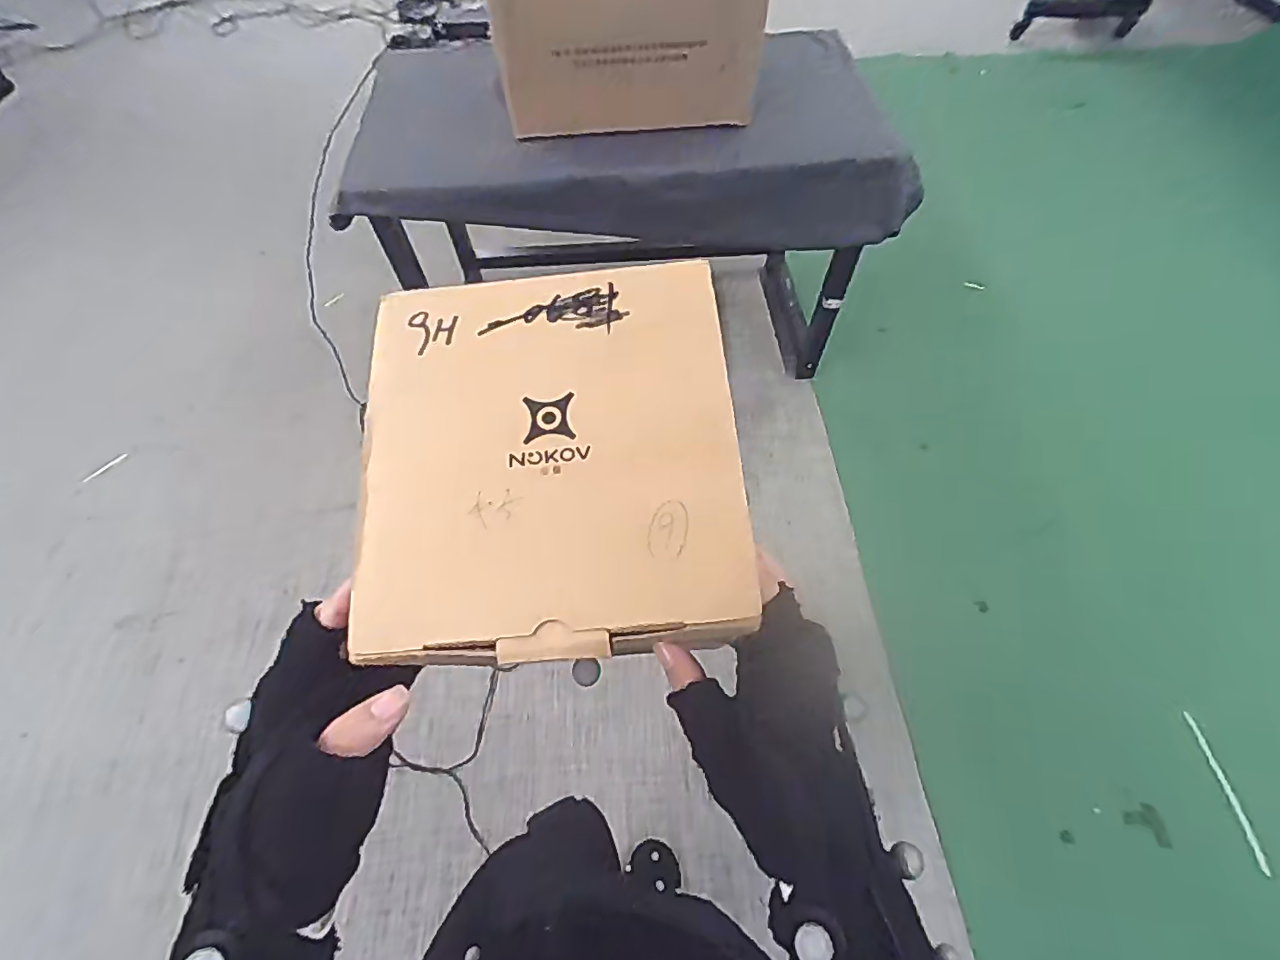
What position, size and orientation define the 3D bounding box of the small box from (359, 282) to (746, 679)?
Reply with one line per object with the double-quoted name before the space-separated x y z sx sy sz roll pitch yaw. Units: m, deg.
"small box" -0.037 0.016 0.321 0.168 0.176 0.179 -6 71 2
